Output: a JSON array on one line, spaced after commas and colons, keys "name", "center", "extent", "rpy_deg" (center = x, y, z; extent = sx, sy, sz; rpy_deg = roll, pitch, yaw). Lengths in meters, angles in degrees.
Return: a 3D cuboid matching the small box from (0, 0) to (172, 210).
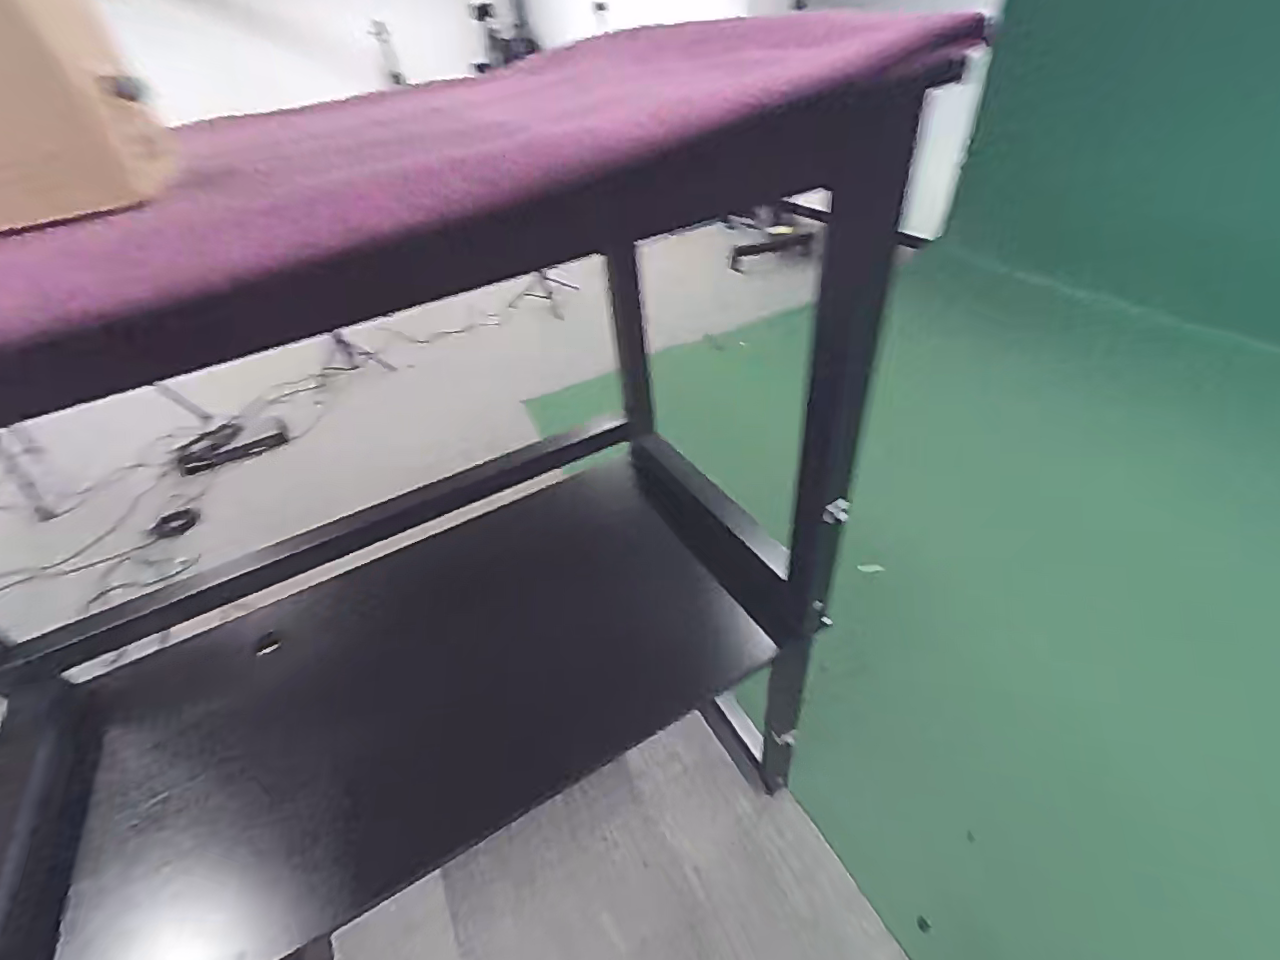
[{"name": "small box", "center": [-0.394, -0.227, 0.268], "extent": [0.179, 0.176, 0.168], "rpy_deg": [-23, 42, -17]}]
